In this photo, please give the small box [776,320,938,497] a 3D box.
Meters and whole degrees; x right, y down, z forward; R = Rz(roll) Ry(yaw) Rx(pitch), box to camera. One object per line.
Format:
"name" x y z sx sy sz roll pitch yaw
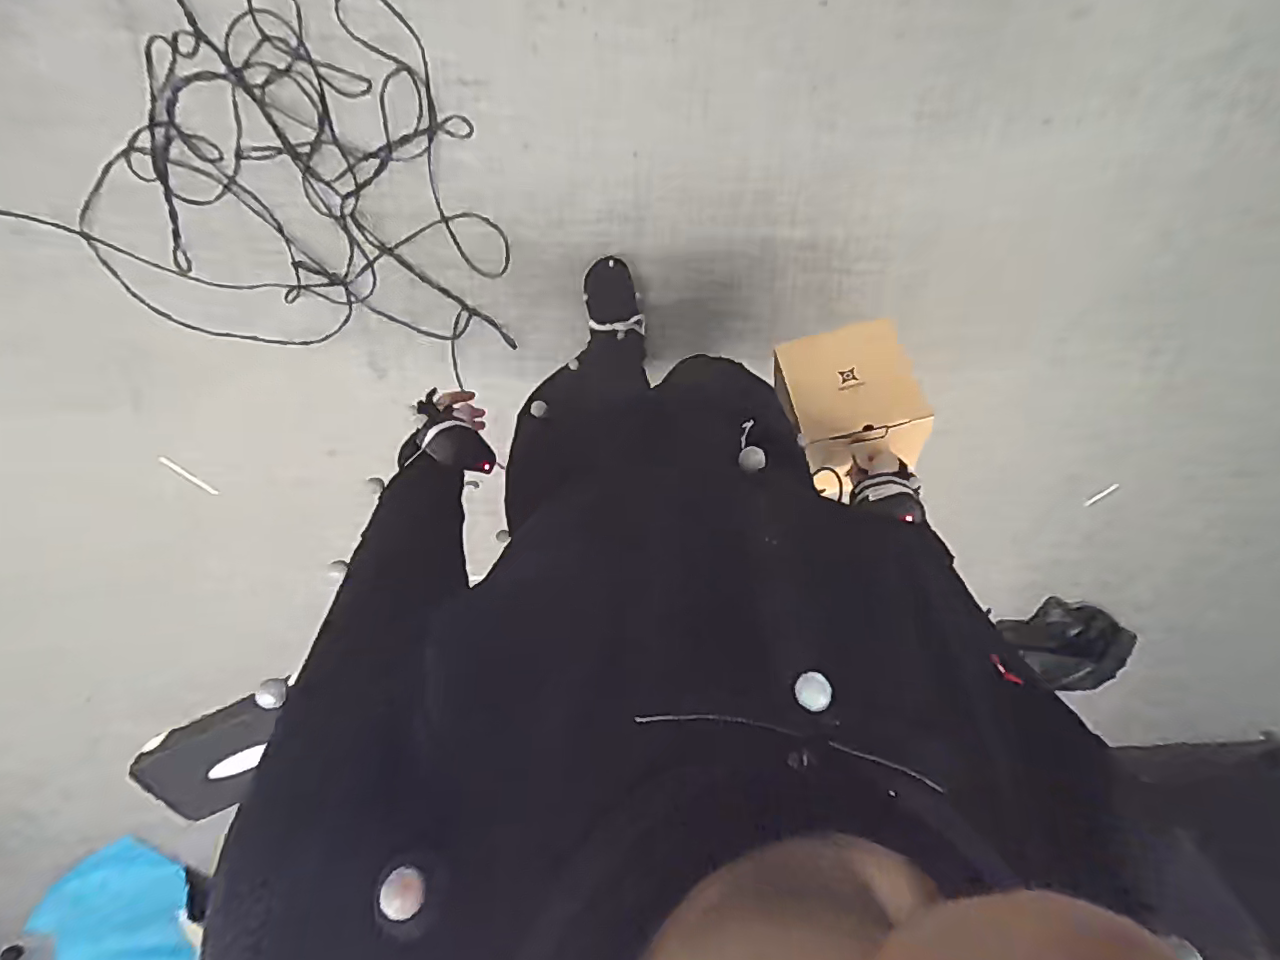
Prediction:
"small box" 0.302 -0.099 0.799 0.168 0.179 0.176 -13 151 7
